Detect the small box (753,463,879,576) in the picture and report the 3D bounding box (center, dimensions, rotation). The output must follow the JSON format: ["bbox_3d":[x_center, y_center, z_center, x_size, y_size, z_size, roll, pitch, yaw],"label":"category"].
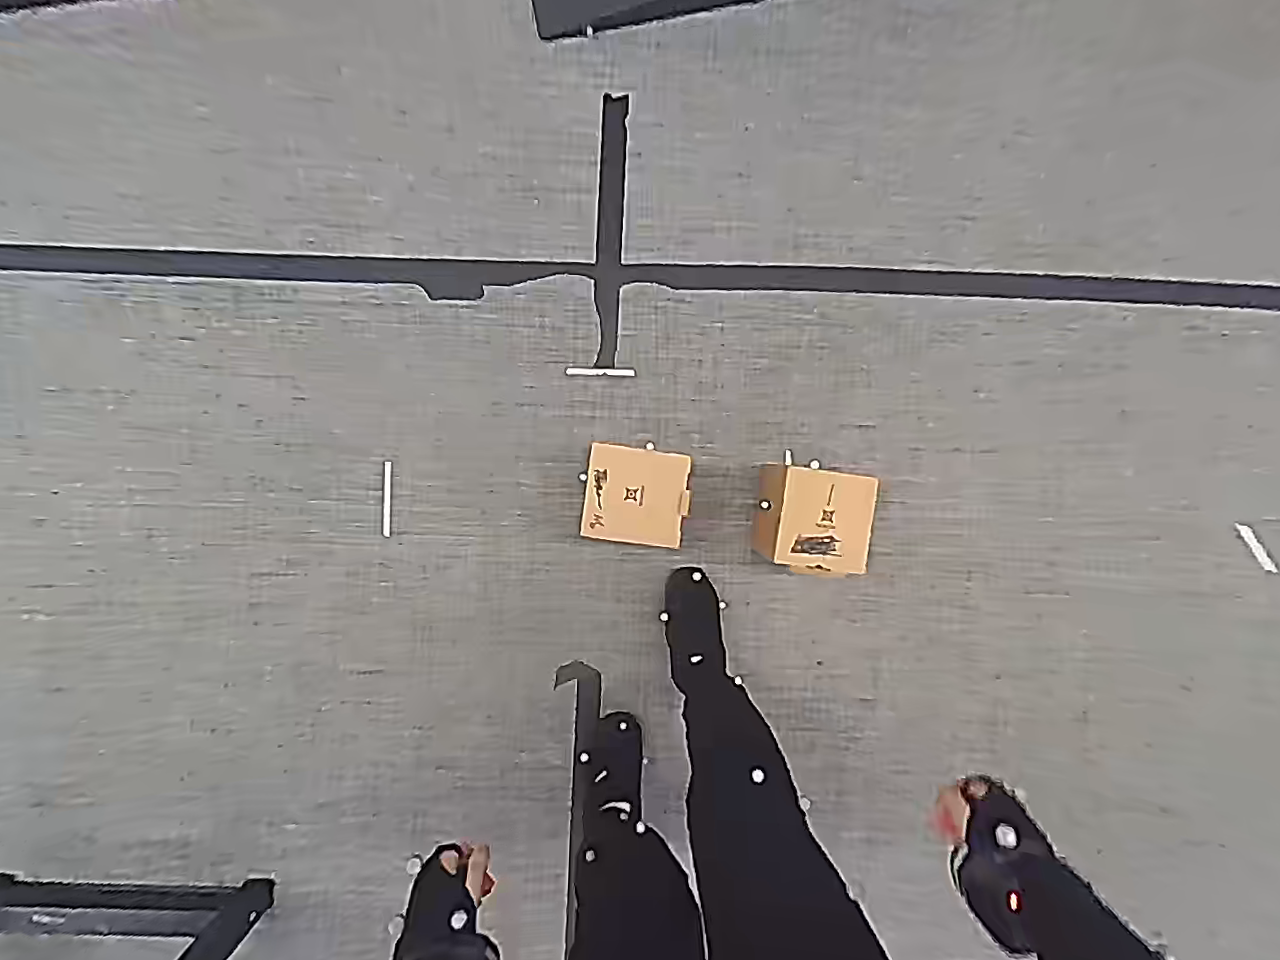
[{"bbox_3d":[0.319,0.067,1.016,0.168,0.176,0.179,8,92,-3],"label":"small box"}]

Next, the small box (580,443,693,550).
[{"bbox_3d":[-0.010,0.024,0.999,0.179,0.176,0.168,8,92,-4],"label":"small box"}]
